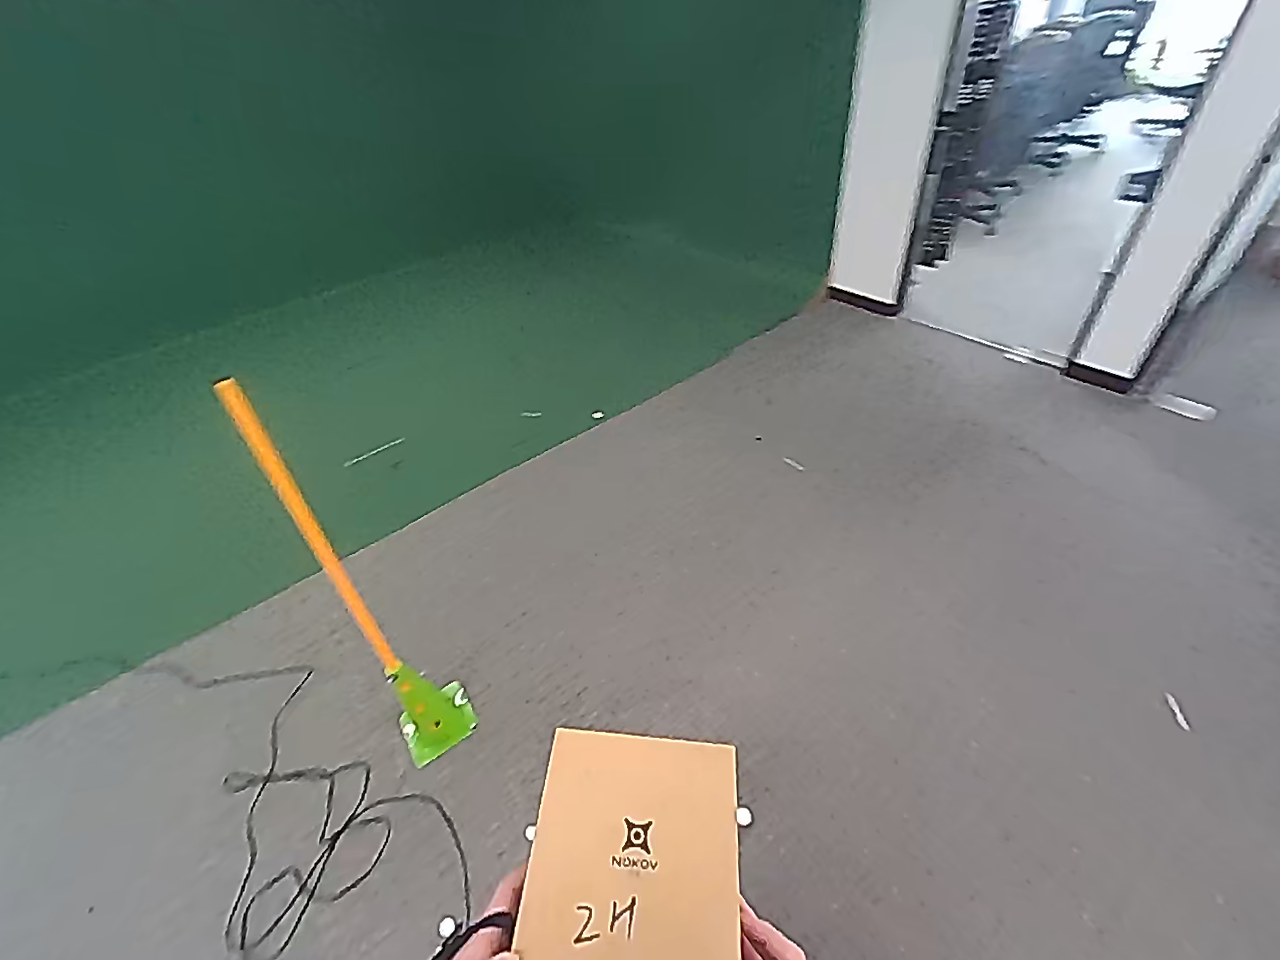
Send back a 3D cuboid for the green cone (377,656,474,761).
[{"bbox_3d":[-0.657,0.611,1.561,0.202,0.368,0.200,-30,46,-21],"label":"green cone"}]
